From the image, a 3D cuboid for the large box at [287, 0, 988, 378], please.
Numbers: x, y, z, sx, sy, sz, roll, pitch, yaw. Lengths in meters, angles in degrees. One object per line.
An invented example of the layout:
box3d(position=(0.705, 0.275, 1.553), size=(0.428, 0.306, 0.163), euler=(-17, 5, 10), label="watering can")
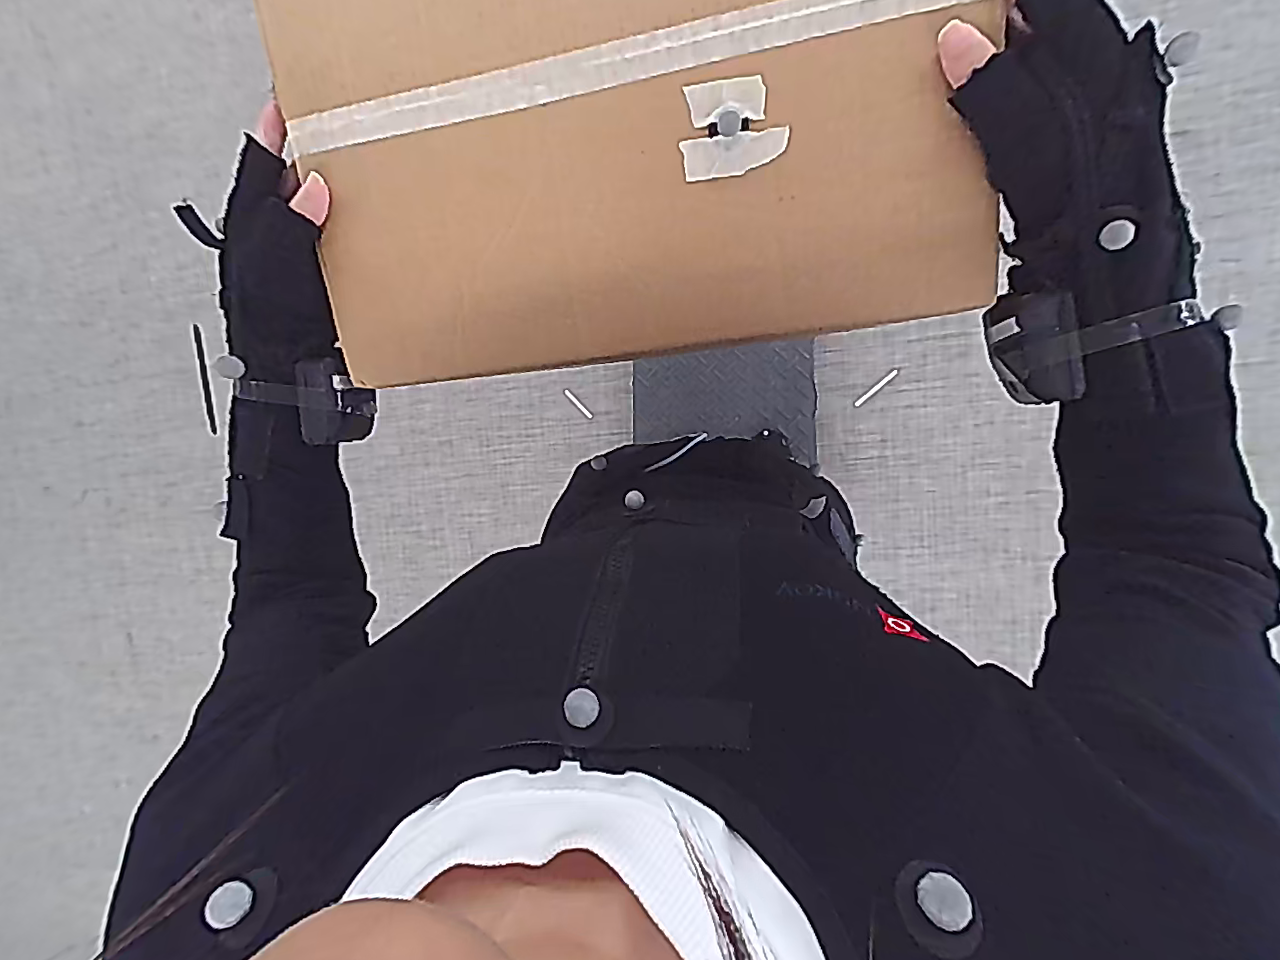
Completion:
box3d(position=(0.007, -0.274, 0.459), size=(0.408, 0.320, 0.320), euler=(-5, 103, 10), label="large box")
